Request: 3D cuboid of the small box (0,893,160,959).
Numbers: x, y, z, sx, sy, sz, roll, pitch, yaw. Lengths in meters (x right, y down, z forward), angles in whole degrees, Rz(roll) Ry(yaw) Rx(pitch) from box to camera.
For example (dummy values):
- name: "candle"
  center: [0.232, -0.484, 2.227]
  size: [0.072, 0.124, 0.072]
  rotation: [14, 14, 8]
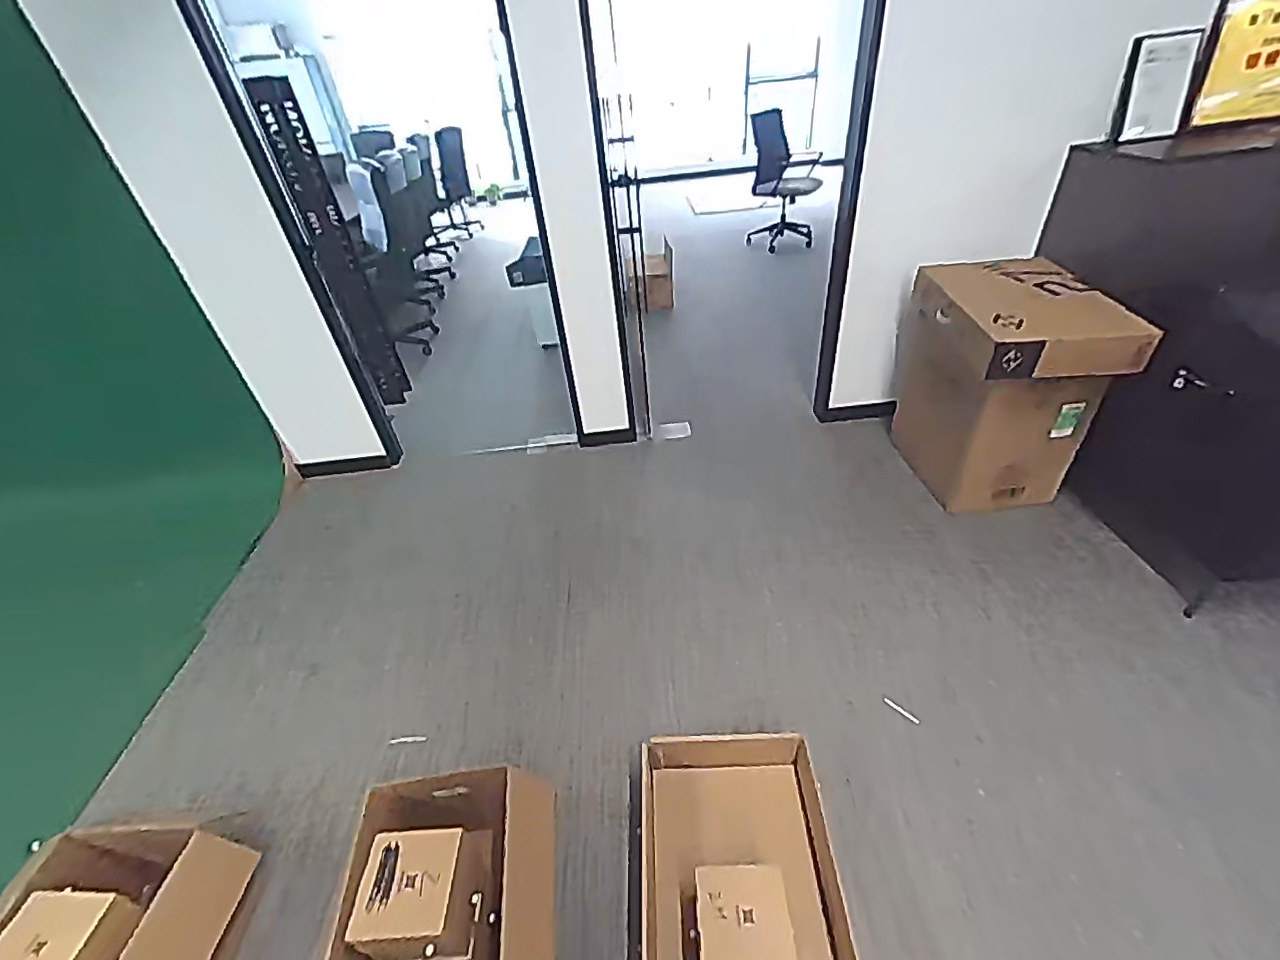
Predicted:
- name: "small box"
  center: [-1.073, 0.899, 1.011]
  size: [0.179, 0.176, 0.168]
  rotation: [-2, 37, 4]
